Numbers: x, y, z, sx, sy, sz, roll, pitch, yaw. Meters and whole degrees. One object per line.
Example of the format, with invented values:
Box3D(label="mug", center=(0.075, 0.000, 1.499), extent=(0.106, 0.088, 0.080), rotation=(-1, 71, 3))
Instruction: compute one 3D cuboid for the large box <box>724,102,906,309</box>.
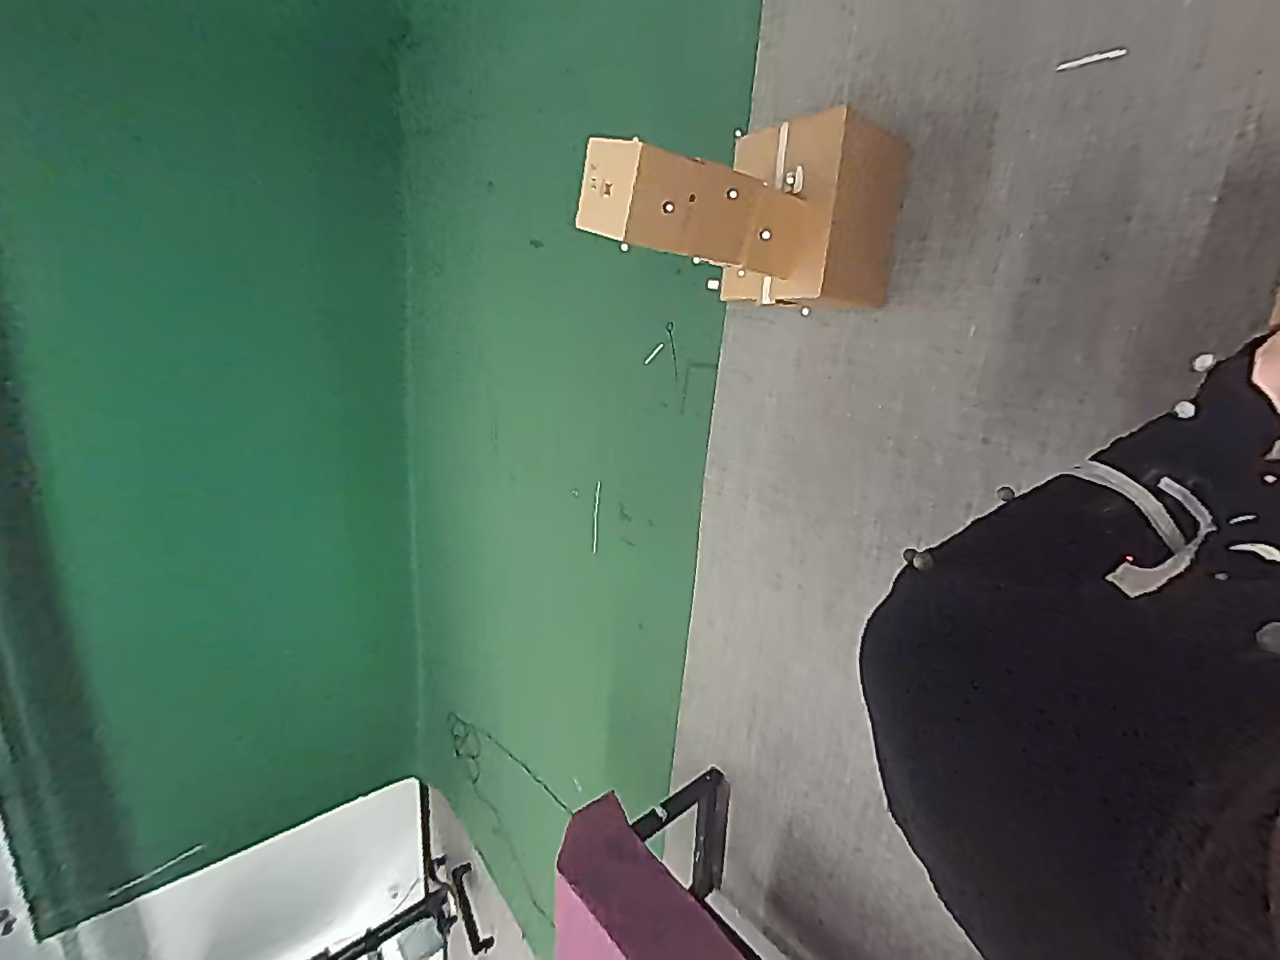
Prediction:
Box3D(label="large box", center=(0.452, -0.675, 1.419), extent=(0.320, 0.320, 0.408), rotation=(19, 110, 46))

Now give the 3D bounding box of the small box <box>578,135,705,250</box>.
Box3D(label="small box", center=(0.003, -0.569, 1.081), extent=(0.179, 0.176, 0.168), rotation=(38, 124, 40))

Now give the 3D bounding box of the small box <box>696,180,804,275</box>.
Box3D(label="small box", center=(0.261, -0.598, 1.281), extent=(0.168, 0.176, 0.179), rotation=(33, 122, 42))

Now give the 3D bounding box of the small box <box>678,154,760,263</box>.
Box3D(label="small box", center=(0.135, -0.589, 1.178), extent=(0.168, 0.176, 0.179), rotation=(37, 125, 41))
